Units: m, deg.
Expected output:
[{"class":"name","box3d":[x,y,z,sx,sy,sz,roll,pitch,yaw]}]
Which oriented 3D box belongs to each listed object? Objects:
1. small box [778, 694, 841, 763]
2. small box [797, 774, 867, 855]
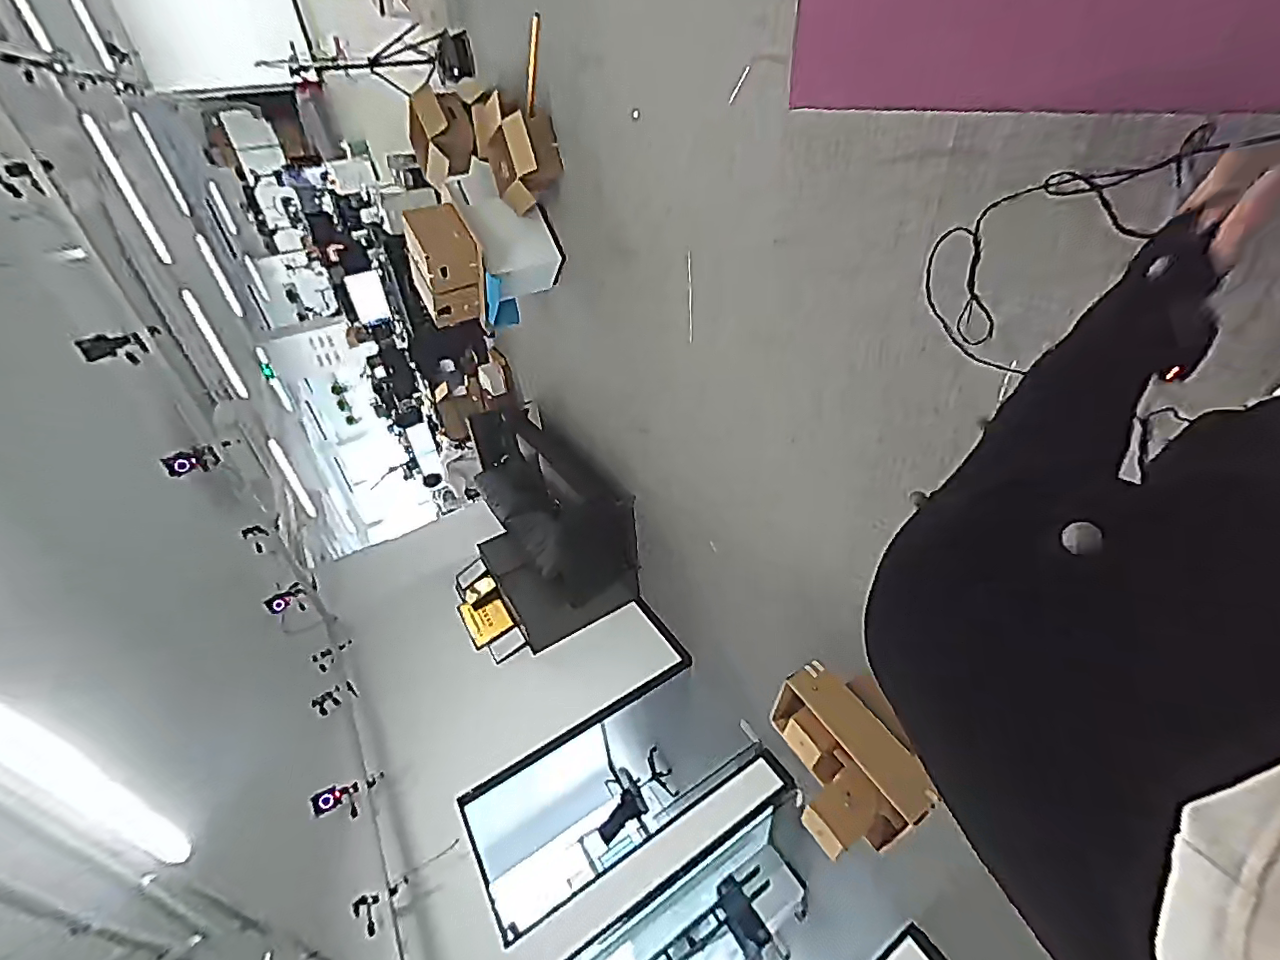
[{"class":"small box","box3d":[0.703,1.026,2.239,0.168,0.176,0.179,45,148,37]},{"class":"small box","box3d":[0.714,1.241,2.012,0.168,0.176,0.179,43,148,39]}]
